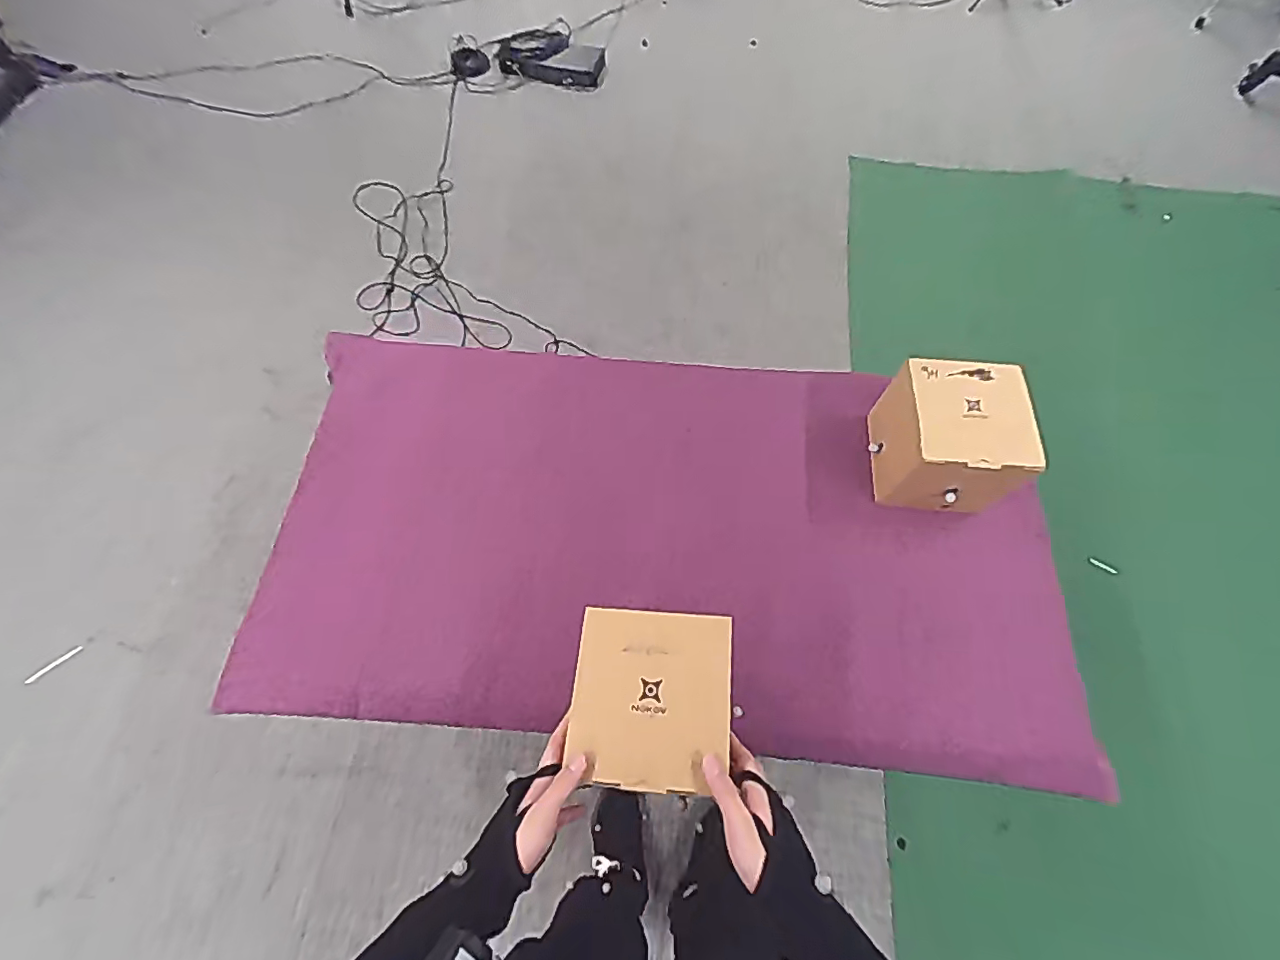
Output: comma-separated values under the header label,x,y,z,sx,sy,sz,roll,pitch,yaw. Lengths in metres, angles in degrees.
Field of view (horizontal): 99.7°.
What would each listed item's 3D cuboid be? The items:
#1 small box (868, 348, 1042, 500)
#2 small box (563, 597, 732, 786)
label,x,y,z,sx,sy,sz,roll,pitch,yaw
small box,0.468,-0.079,0.834,0.168,0.176,0.179,4,67,3
small box,0.021,0.250,0.633,0.168,0.176,0.179,2,61,8
